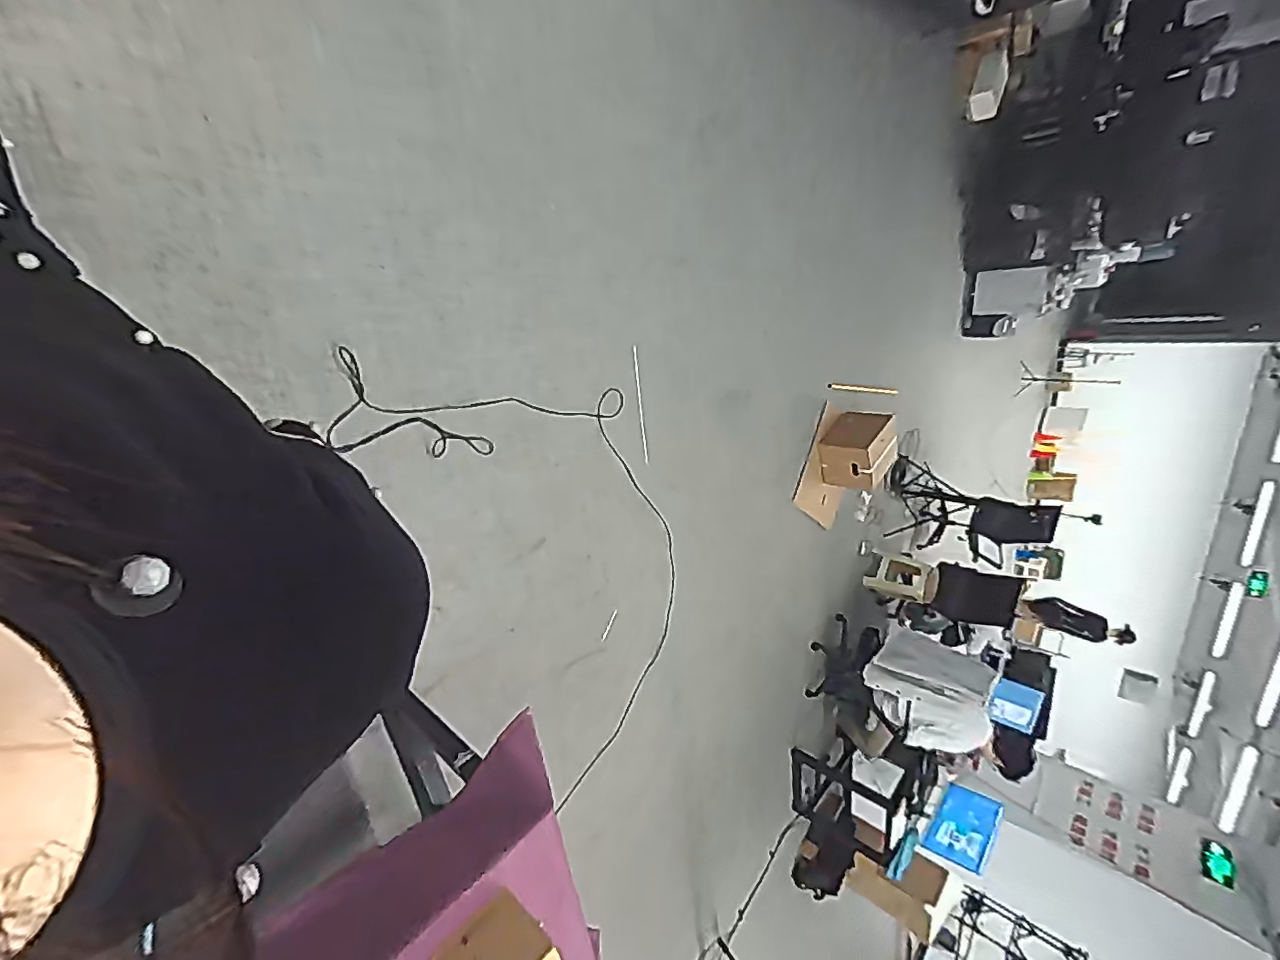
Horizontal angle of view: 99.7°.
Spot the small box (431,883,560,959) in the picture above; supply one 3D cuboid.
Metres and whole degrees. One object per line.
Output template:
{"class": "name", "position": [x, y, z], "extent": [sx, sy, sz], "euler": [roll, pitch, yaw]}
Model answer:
{"class": "small box", "position": [-0.265, 0.915, 1.018], "extent": [0.168, 0.176, 0.179], "euler": [-29, 121, -39]}
